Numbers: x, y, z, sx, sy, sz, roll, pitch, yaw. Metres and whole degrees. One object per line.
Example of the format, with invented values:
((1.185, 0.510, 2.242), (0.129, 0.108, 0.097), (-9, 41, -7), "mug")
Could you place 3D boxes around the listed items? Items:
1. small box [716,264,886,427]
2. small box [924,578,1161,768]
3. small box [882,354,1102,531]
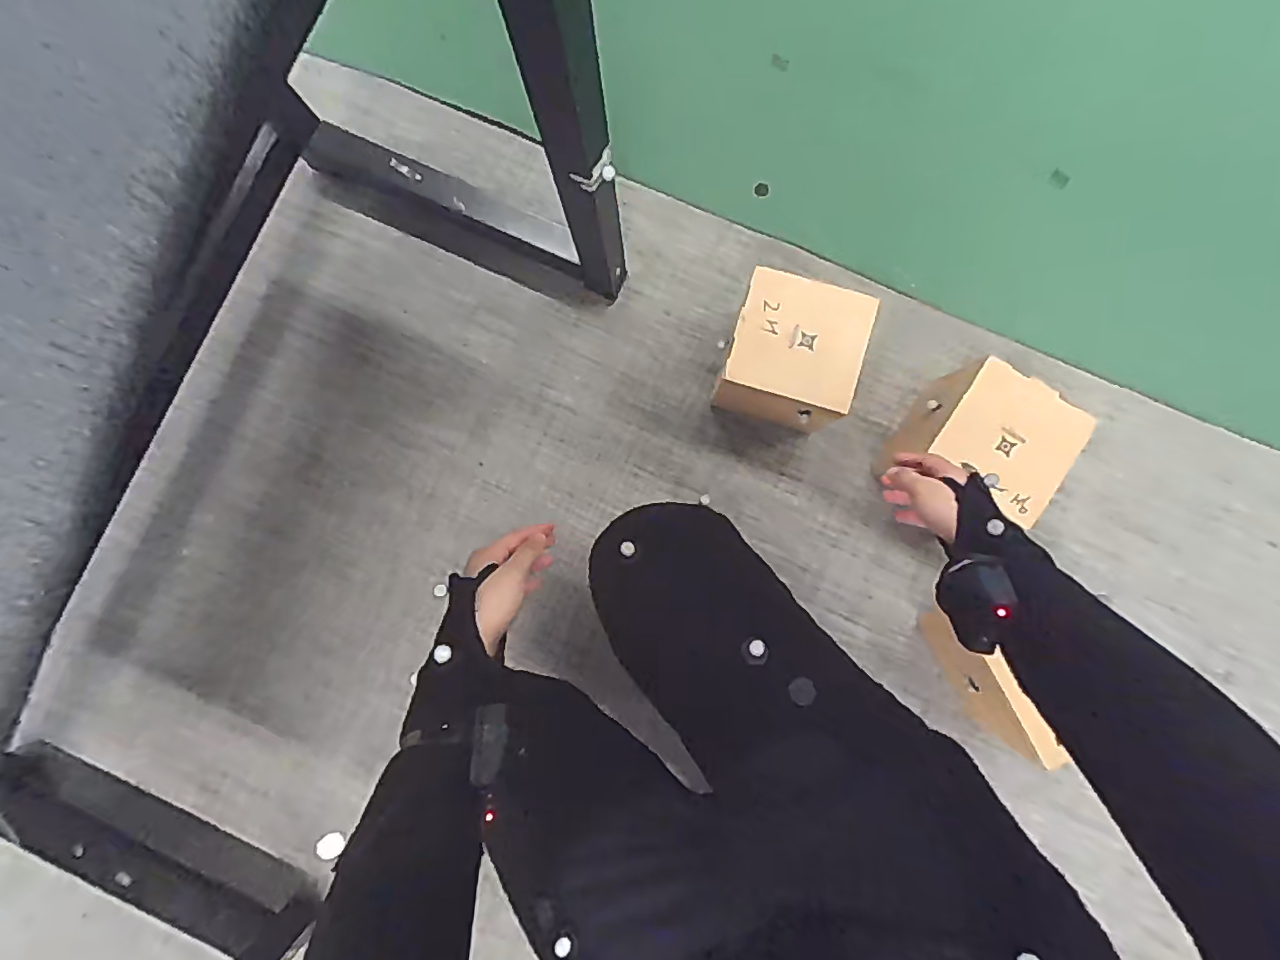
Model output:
((0.224, -0.183, 0.796), (0.179, 0.176, 0.168), (17, 87, 3), "small box")
((0.546, 0.256, 0.761), (0.168, 0.176, 0.179), (-27, 85, 1), "small box")
((0.486, -0.046, 0.778), (0.168, 0.176, 0.179), (34, 89, 3), "small box")
